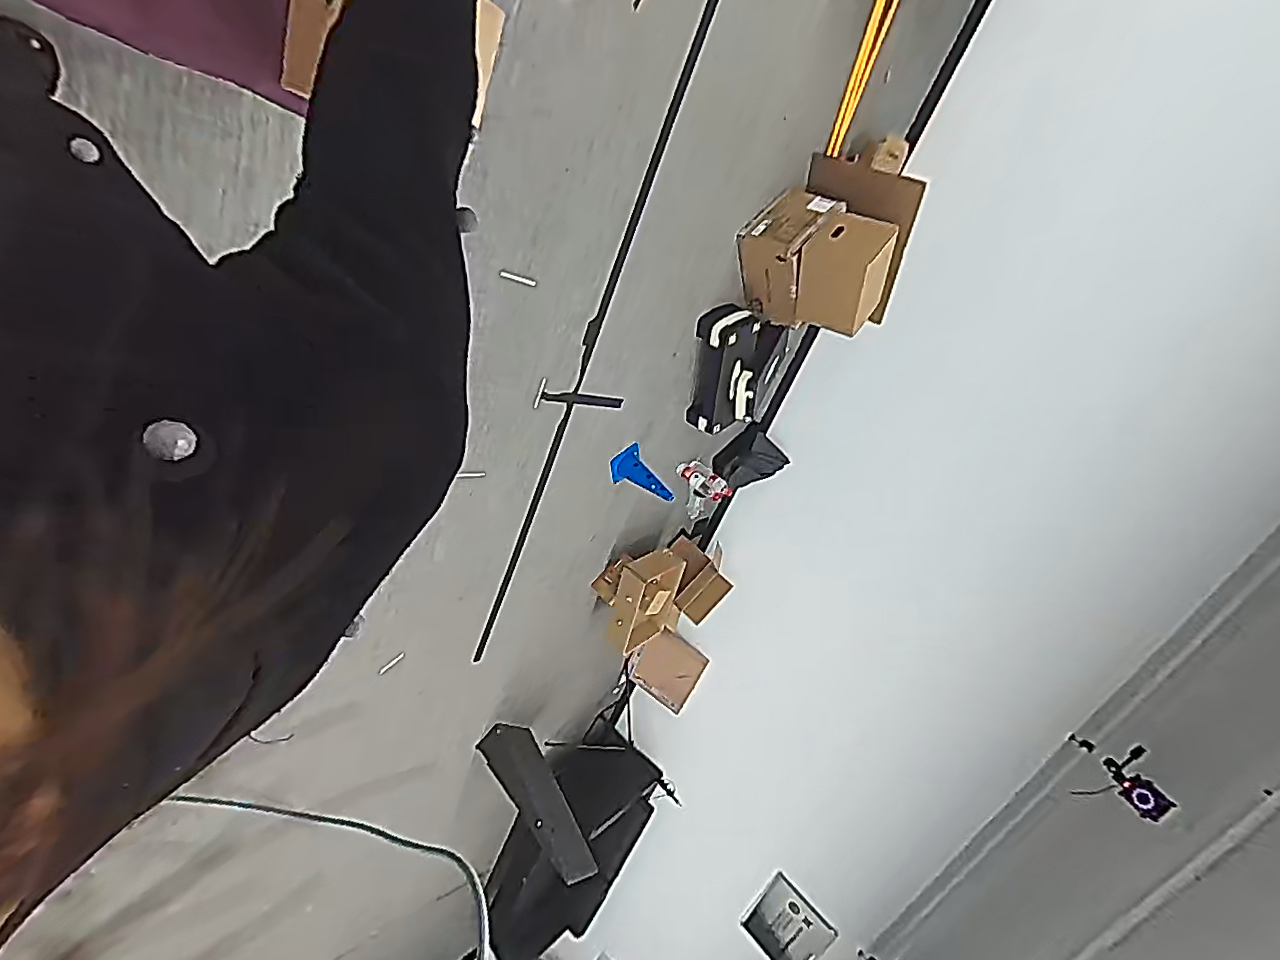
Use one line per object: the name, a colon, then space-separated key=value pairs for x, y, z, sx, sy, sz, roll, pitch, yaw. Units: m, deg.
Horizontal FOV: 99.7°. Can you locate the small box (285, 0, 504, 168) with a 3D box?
small box: x=-0.296 y=-0.510 z=0.642 sx=0.168 sy=0.176 sz=0.179 roll=-3 pitch=123 yaw=-51
